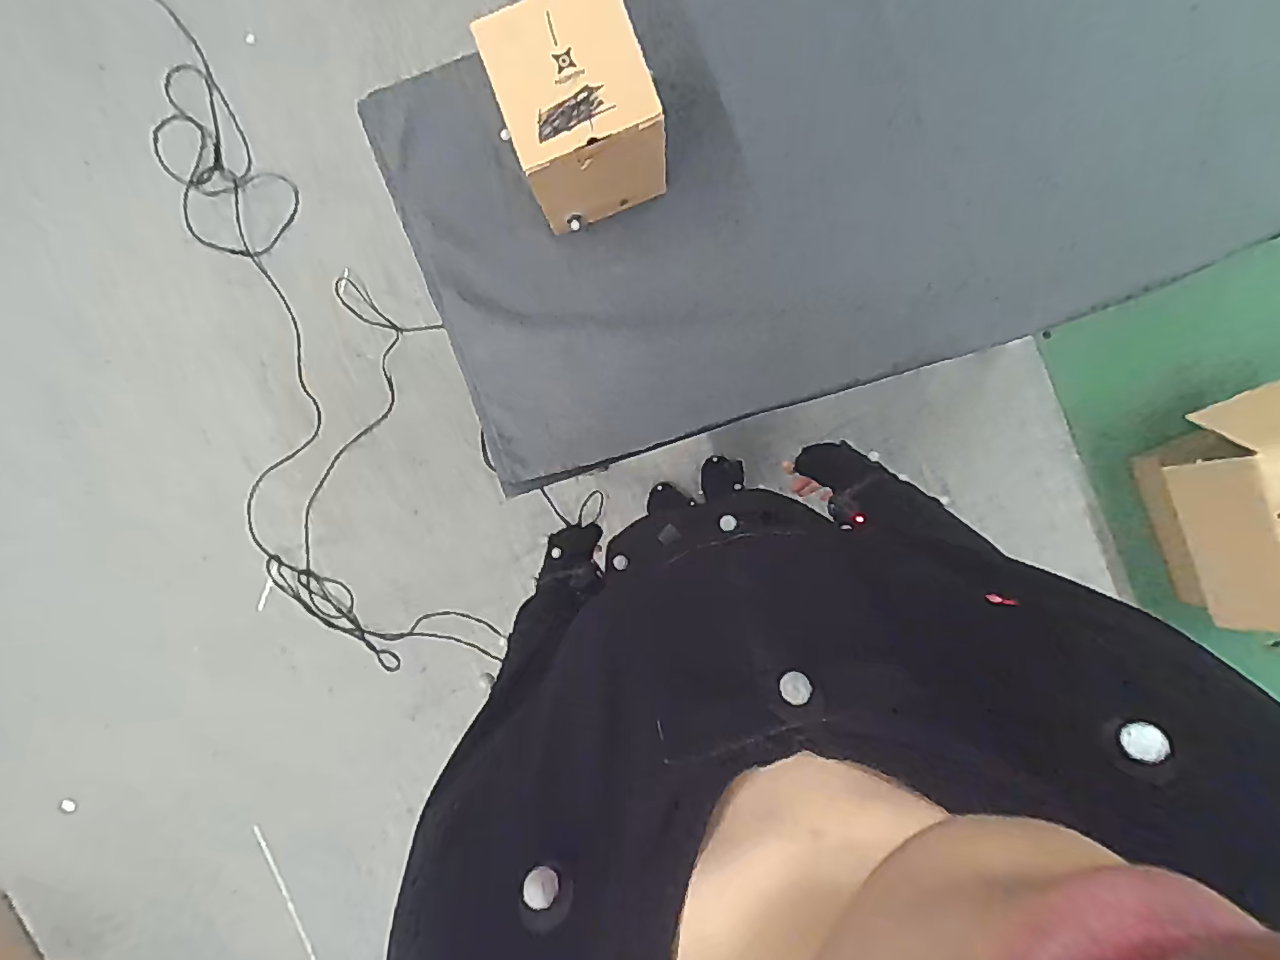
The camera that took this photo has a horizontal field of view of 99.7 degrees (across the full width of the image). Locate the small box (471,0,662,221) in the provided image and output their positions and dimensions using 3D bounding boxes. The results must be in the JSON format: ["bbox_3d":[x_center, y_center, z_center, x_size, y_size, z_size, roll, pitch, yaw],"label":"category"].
[{"bbox_3d":[-0.075,-0.448,0.662,0.168,0.176,0.179,-20,90,3],"label":"small box"}]
